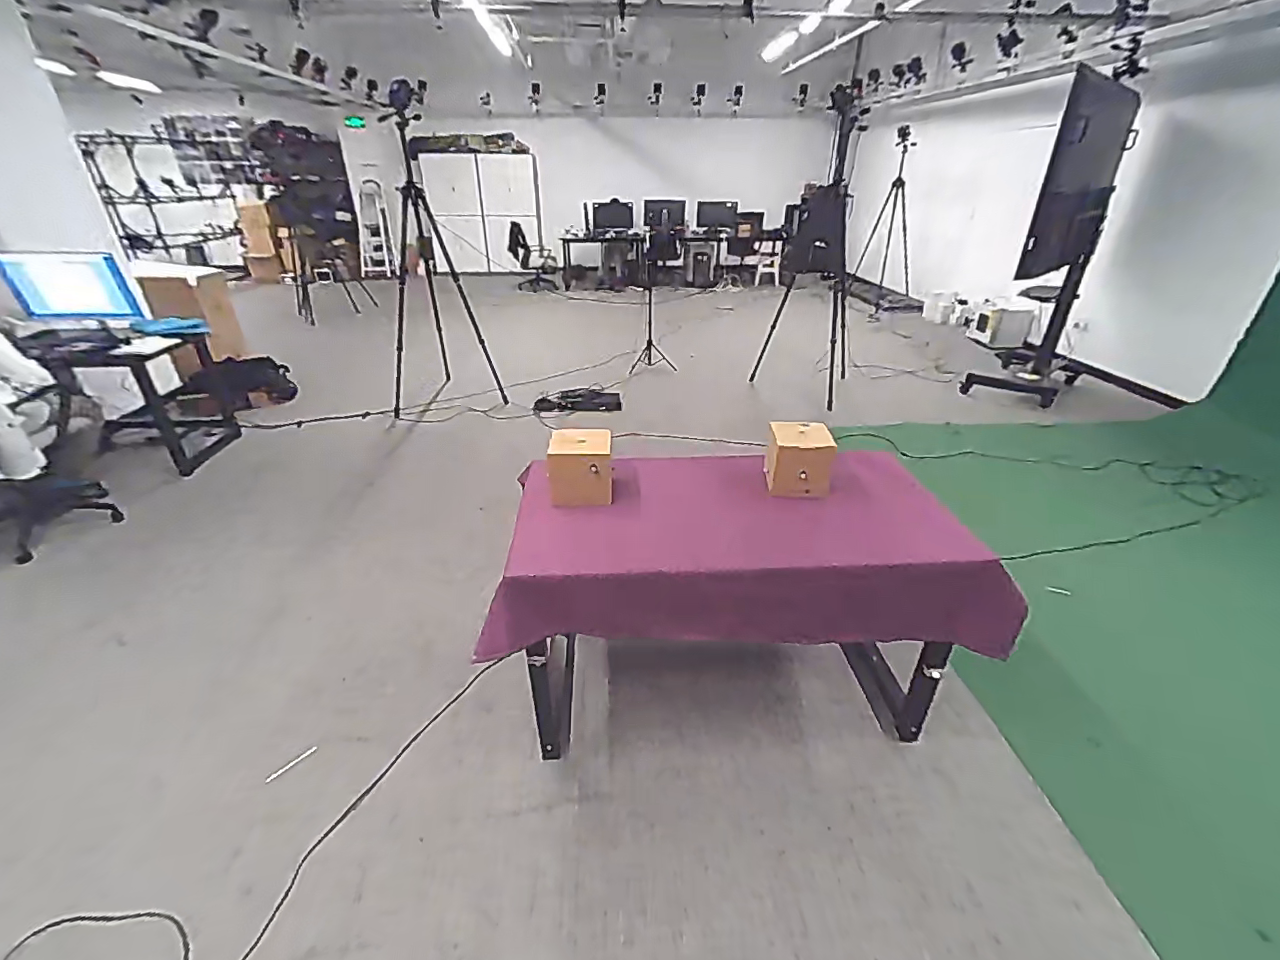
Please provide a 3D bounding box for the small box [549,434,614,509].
[{"bbox_3d":[-0.165,-0.025,1.585,0.179,0.176,0.168,-1,29,-1],"label":"small box"}]

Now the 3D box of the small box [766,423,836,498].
[{"bbox_3d":[0.477,-0.058,1.626,0.168,0.176,0.179,2,30,4],"label":"small box"}]
